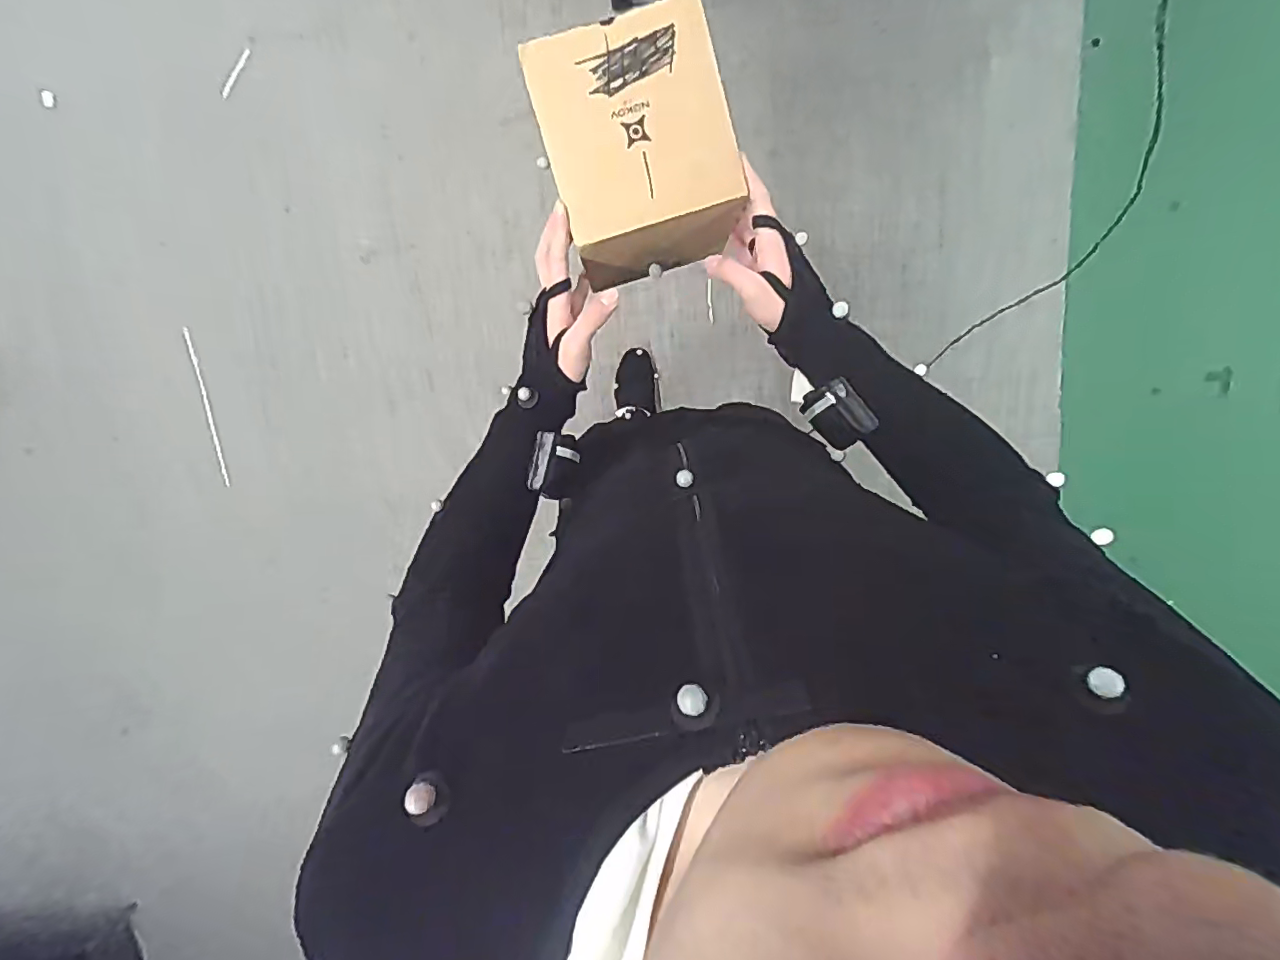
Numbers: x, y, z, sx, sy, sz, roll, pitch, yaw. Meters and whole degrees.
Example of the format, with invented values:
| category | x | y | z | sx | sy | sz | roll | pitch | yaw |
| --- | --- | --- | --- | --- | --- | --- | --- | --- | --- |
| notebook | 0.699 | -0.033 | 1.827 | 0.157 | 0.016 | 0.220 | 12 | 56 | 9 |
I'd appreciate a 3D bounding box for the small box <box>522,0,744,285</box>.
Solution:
| category | x | y | z | sx | sy | sz | roll | pitch | yaw |
| --- | --- | --- | --- | --- | --- | --- | --- | --- | --- |
| small box | -0.005 | -0.327 | 0.559 | 0.168 | 0.176 | 0.179 | -16 | 96 | 3 |
